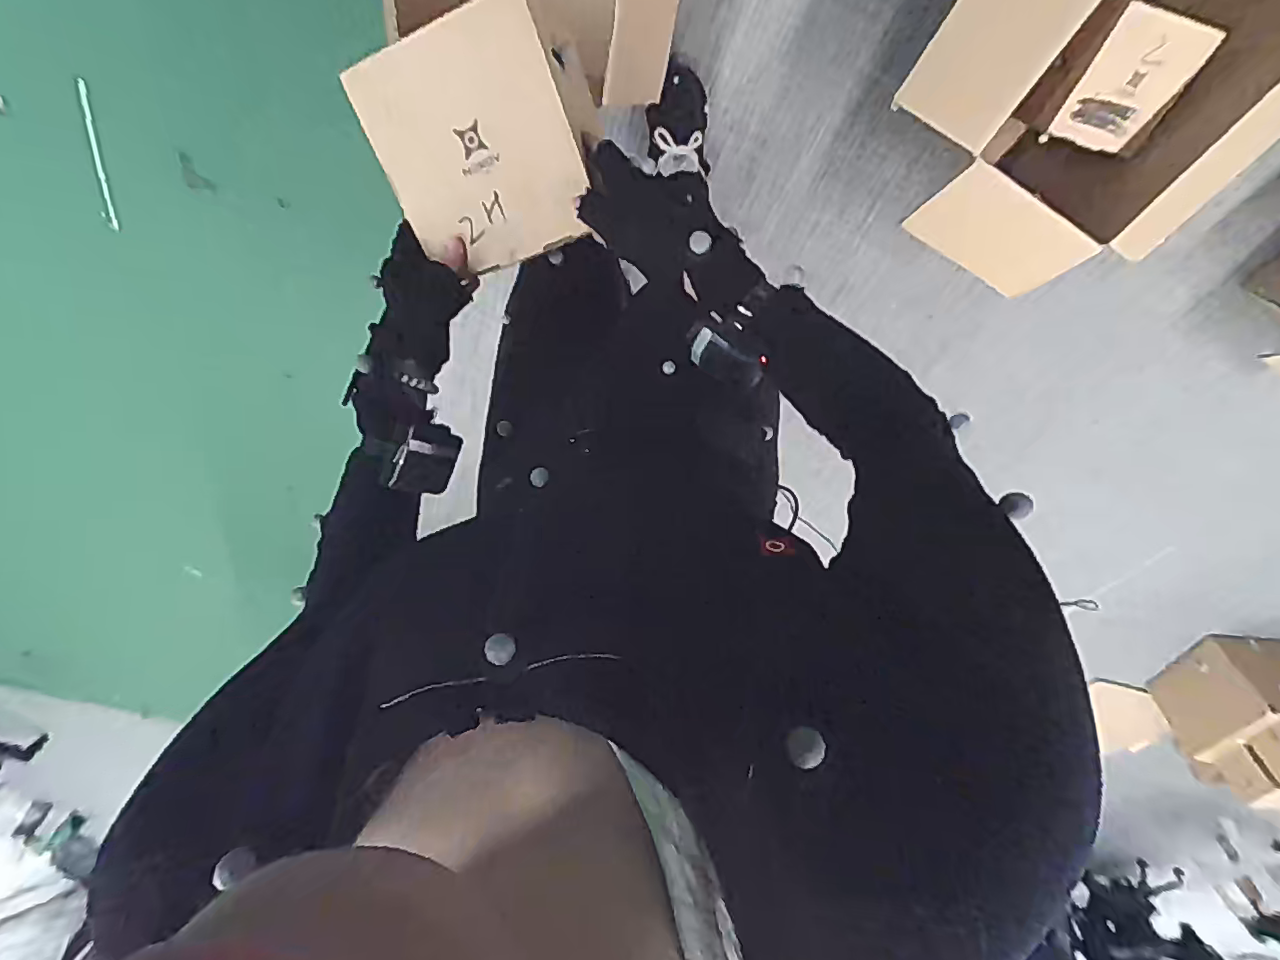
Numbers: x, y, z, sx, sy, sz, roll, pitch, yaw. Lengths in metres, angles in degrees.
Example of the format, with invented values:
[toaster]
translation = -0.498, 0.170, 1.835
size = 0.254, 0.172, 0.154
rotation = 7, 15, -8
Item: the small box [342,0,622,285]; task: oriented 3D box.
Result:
[small box]
translation = -0.129, -0.309, 0.519
size = 0.168, 0.176, 0.179
rotation = -15, 116, 15
